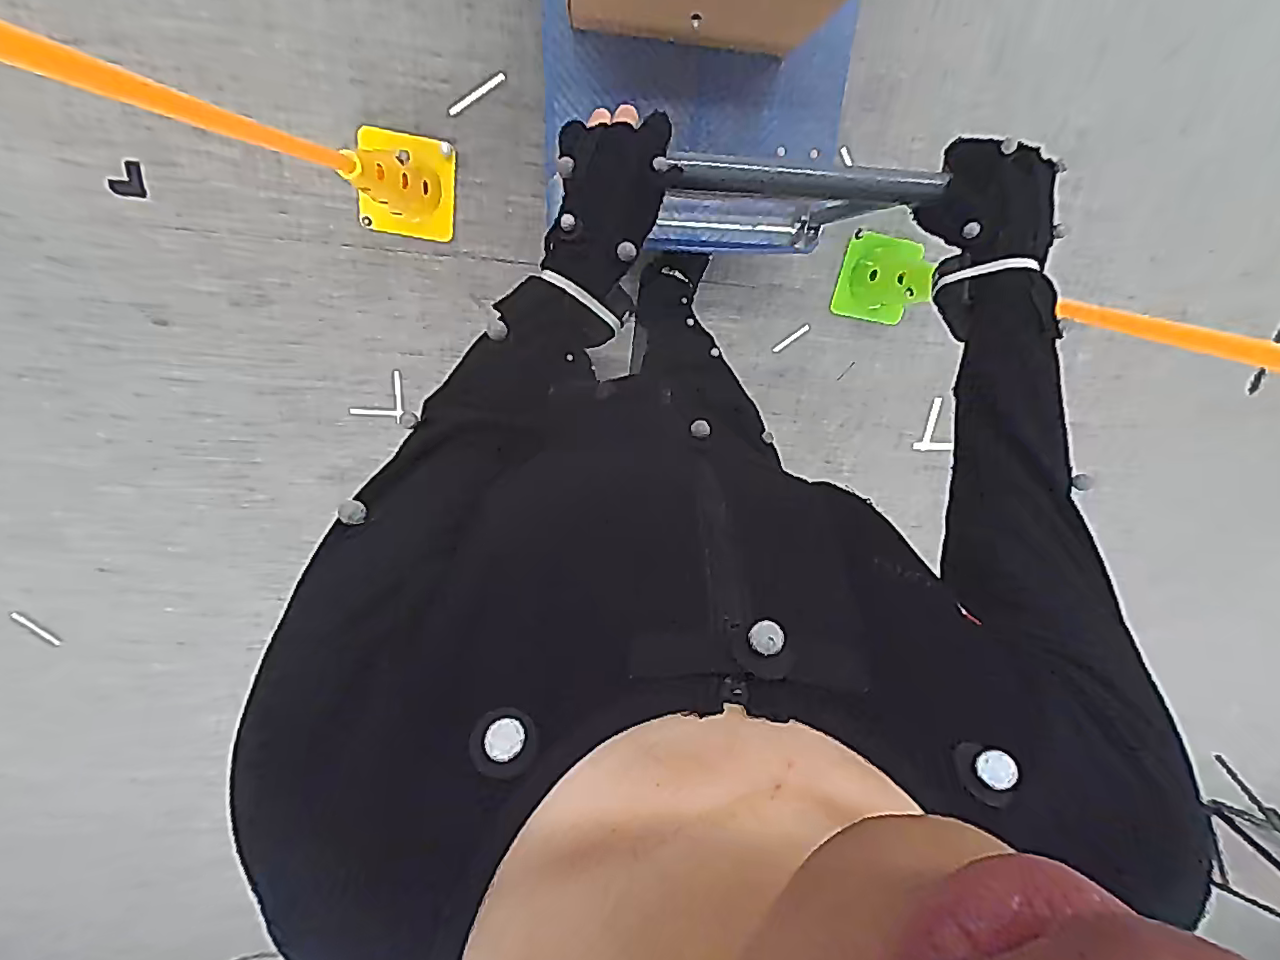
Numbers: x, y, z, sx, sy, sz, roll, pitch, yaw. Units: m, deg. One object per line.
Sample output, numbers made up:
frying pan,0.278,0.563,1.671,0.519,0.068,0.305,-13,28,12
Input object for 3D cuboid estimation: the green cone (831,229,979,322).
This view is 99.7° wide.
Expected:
green cone,0.618,-0.449,1.218,0.202,0.368,0.200,7,112,-10

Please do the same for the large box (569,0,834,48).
large box,0.096,-0.894,0.810,0.408,0.320,0.320,2,114,-6
